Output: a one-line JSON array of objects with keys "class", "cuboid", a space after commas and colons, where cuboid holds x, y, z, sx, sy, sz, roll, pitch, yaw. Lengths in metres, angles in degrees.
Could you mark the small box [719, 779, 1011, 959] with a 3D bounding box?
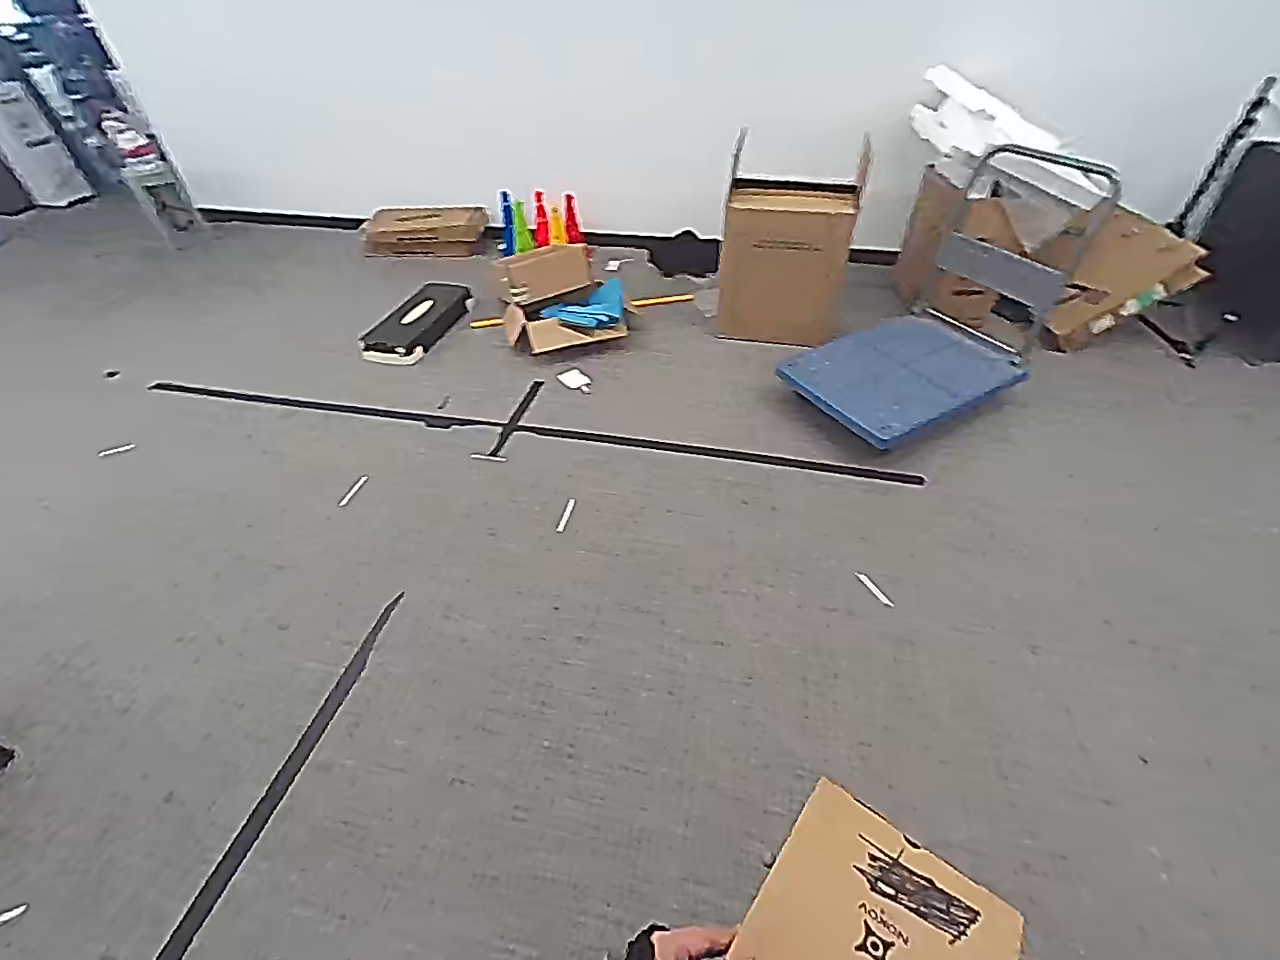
[{"class": "small box", "cuboid": [0.165, 0.403, 0.440, 0.168, 0.176, 0.179, 25, 37, 31]}]
